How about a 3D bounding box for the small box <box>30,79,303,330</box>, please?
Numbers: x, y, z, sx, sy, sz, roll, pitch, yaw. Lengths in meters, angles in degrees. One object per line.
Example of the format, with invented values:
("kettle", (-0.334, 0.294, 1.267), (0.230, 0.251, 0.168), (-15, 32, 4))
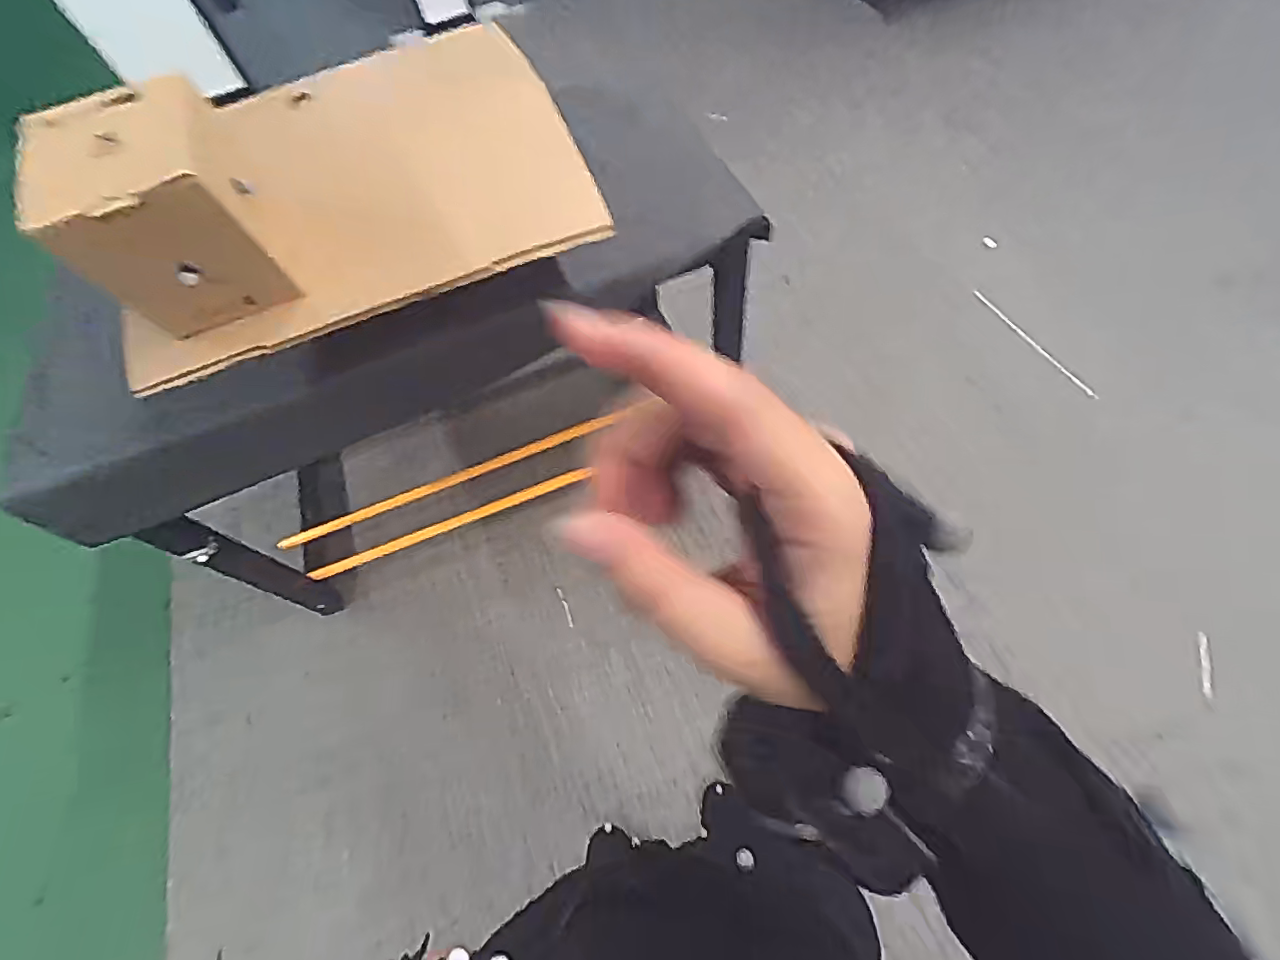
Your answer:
("small box", (-0.522, -0.297, 0.617), (0.168, 0.176, 0.179), (-22, 70, -5))
